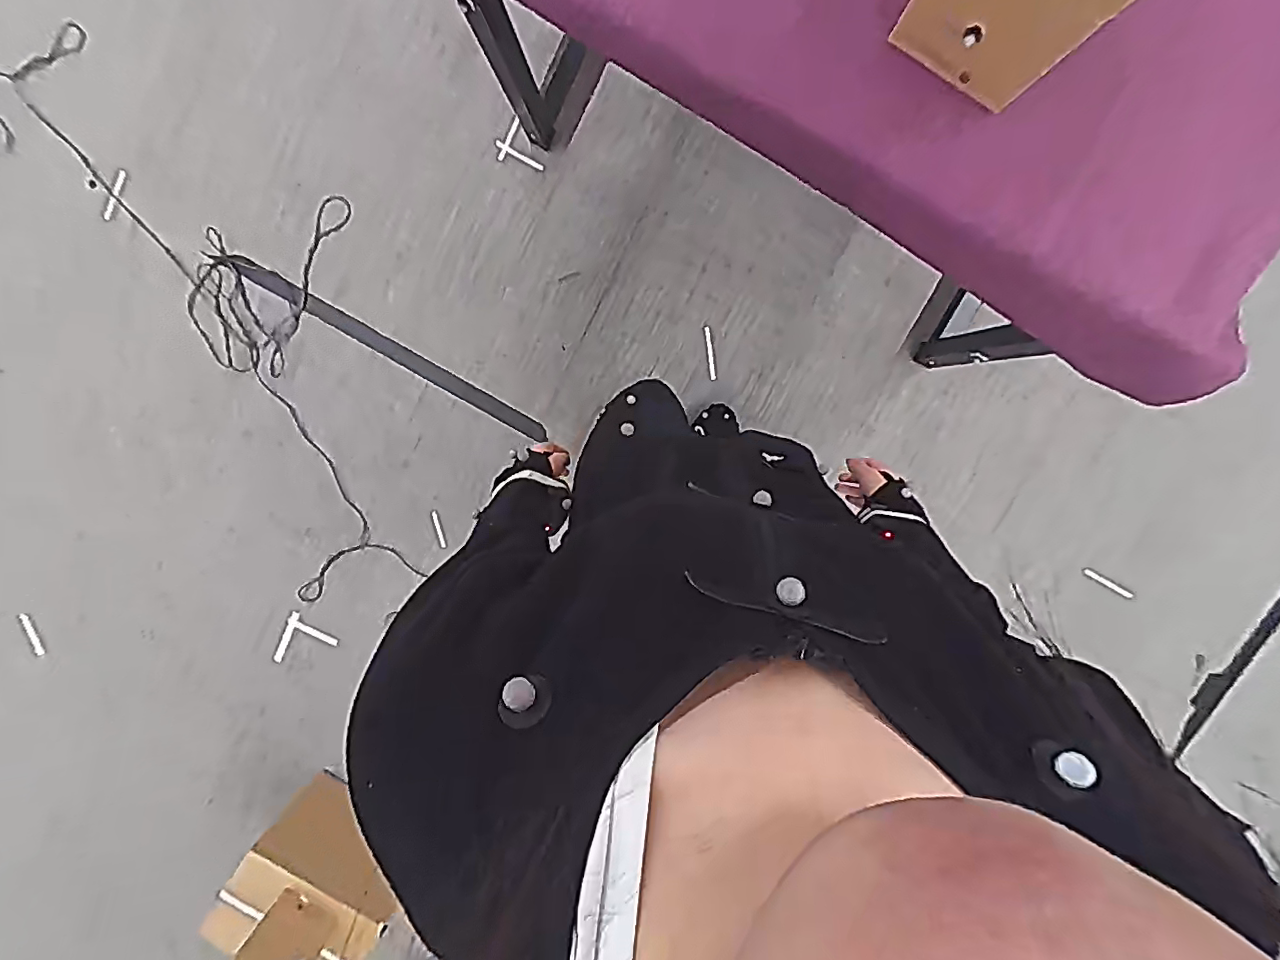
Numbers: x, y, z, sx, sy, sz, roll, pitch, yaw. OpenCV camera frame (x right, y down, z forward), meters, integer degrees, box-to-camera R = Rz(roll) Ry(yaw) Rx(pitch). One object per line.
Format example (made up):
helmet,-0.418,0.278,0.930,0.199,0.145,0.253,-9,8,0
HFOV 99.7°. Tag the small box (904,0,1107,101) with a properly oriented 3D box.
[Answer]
small box,0.415,-0.559,0.573,0.168,0.176,0.179,32,98,-4
